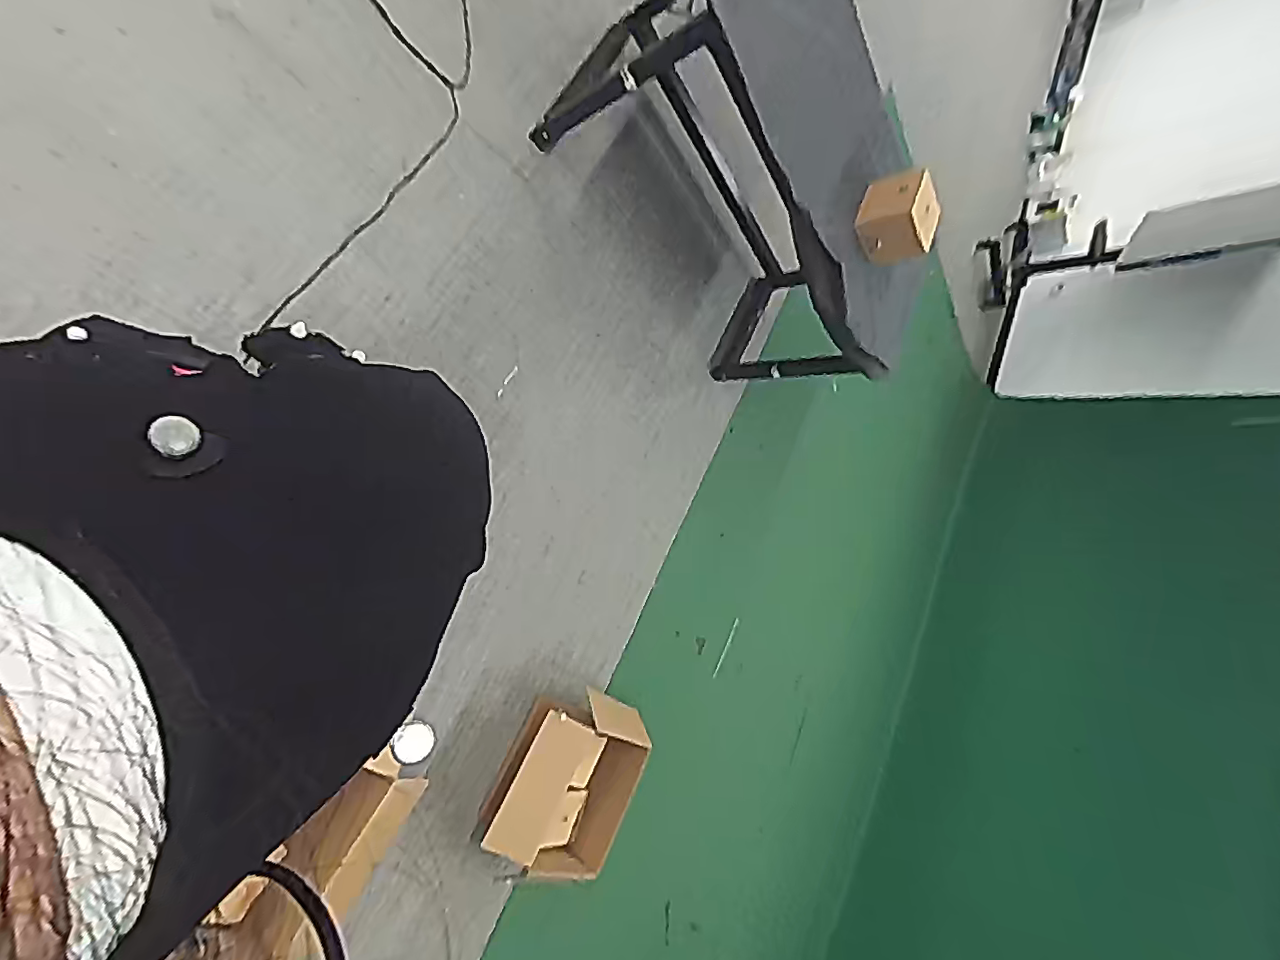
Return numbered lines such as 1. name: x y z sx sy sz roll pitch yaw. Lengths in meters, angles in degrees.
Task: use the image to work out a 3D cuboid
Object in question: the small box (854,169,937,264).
1. small box: 0.764 -0.784 1.623 0.168 0.176 0.179 39 69 -39
